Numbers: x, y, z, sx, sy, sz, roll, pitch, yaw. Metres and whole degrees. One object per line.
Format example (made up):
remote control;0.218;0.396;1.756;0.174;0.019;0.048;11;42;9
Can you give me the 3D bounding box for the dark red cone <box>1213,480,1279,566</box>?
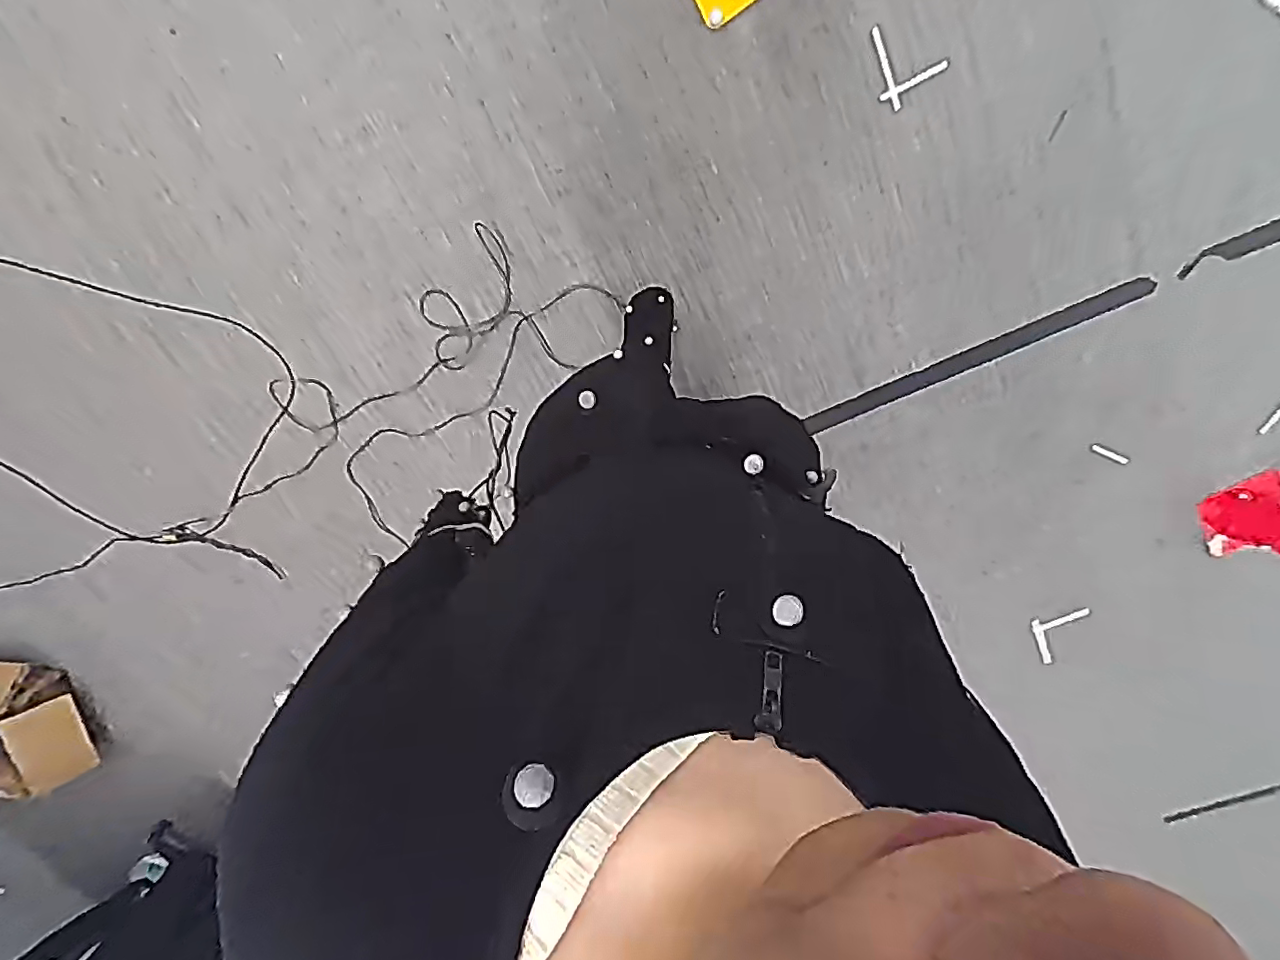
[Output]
dark red cone;1.582;0.164;1.227;0.202;0.394;0.201;-31;107;12
